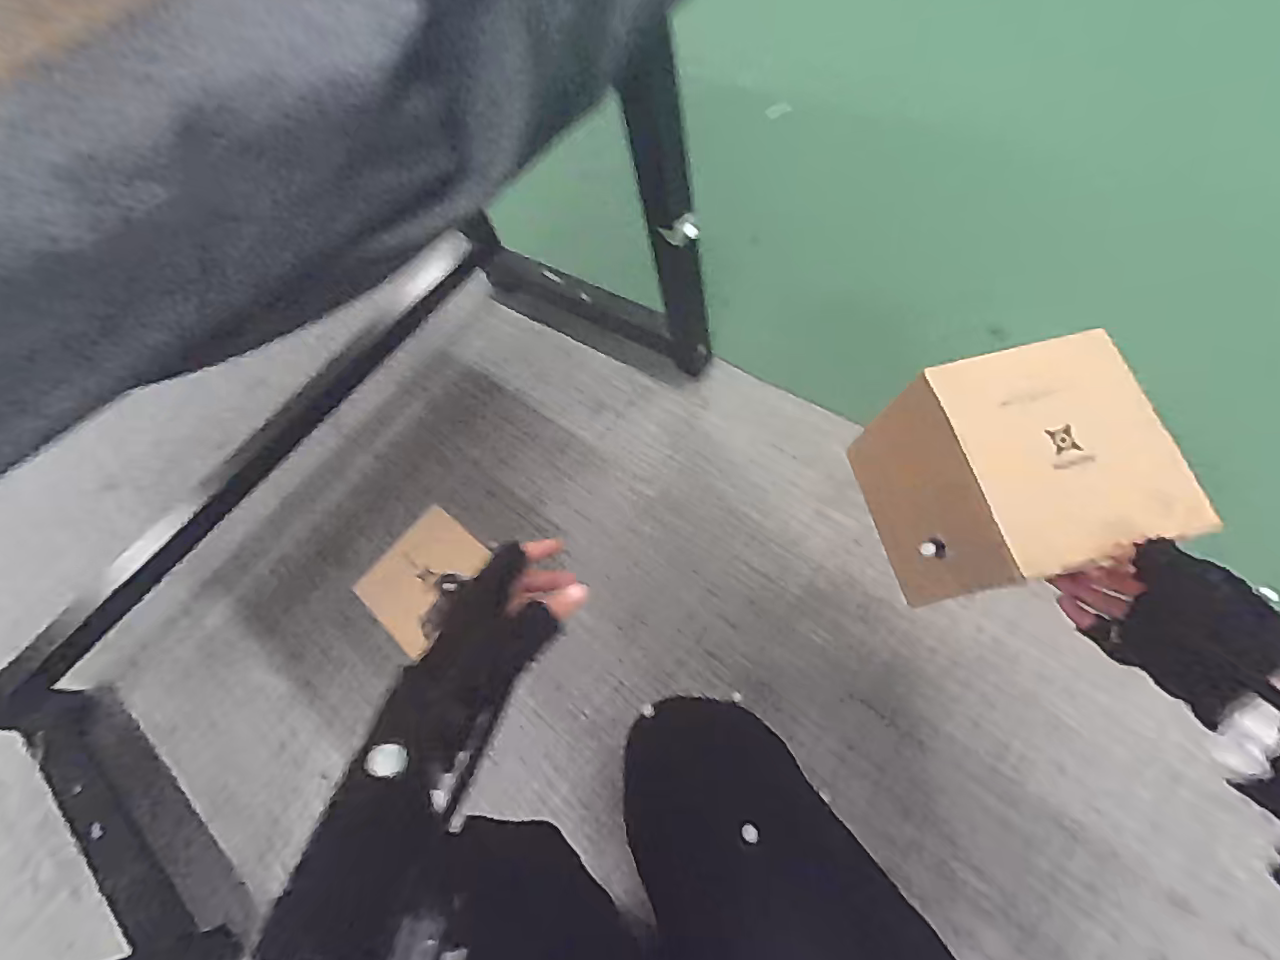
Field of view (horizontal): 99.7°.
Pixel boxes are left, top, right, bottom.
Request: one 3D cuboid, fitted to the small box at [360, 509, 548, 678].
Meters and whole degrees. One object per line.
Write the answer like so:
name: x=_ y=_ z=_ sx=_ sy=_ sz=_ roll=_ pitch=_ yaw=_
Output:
small box: x=-0.270 y=0.179 z=0.821 sx=0.179 sy=0.176 sz=0.168 roll=34 pitch=75 yaw=27
